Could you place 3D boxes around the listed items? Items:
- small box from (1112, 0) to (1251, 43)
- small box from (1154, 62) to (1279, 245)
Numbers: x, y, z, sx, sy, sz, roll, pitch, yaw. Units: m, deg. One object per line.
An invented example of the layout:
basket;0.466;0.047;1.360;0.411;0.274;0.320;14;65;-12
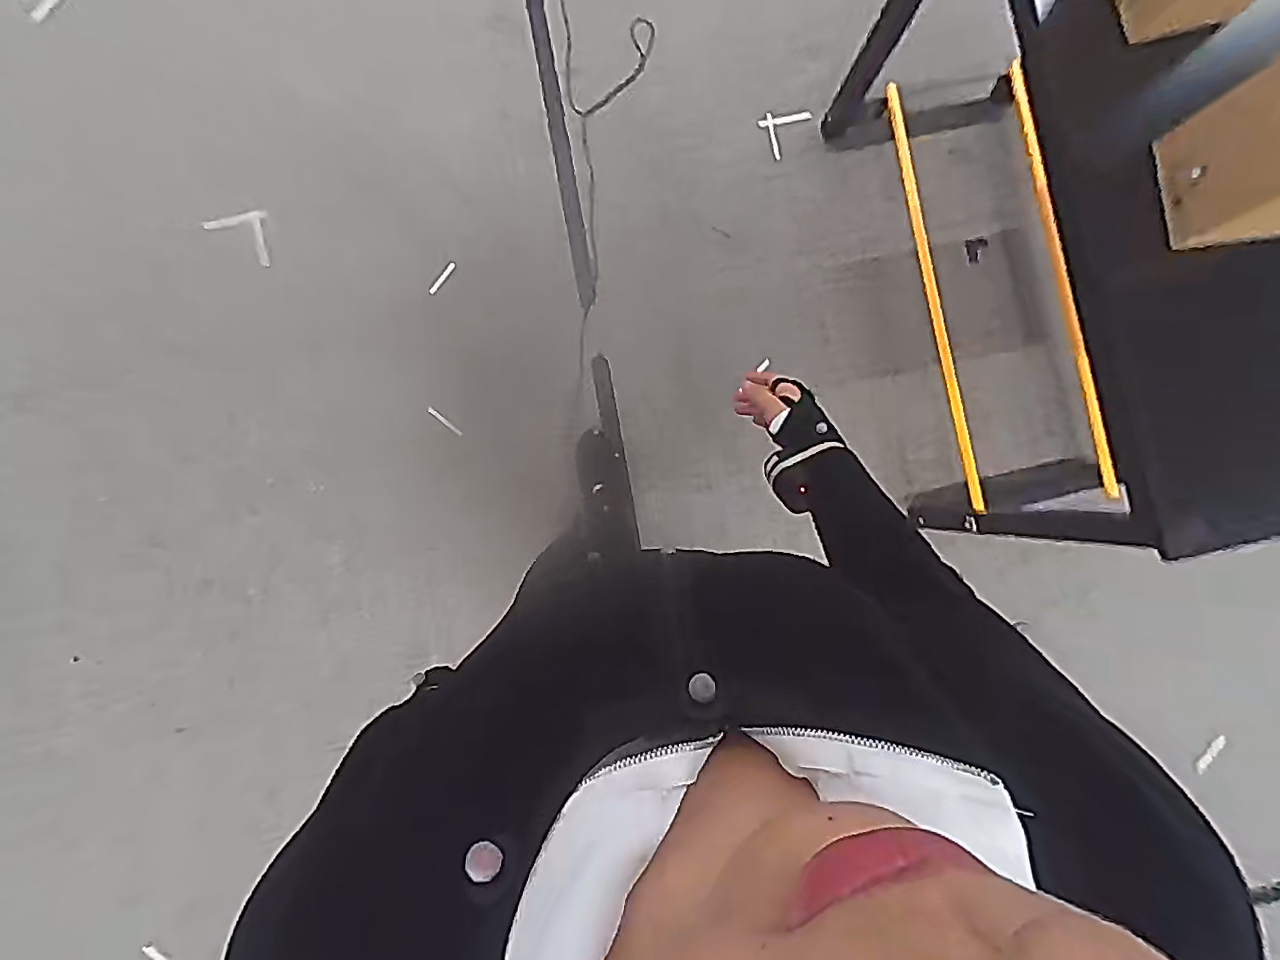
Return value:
small box;0.799;-0.759;0.743;0.179;0.176;0.168;-16;88;-2
small box;0.868;-0.442;0.733;0.179;0.176;0.168;-8;88;-3
